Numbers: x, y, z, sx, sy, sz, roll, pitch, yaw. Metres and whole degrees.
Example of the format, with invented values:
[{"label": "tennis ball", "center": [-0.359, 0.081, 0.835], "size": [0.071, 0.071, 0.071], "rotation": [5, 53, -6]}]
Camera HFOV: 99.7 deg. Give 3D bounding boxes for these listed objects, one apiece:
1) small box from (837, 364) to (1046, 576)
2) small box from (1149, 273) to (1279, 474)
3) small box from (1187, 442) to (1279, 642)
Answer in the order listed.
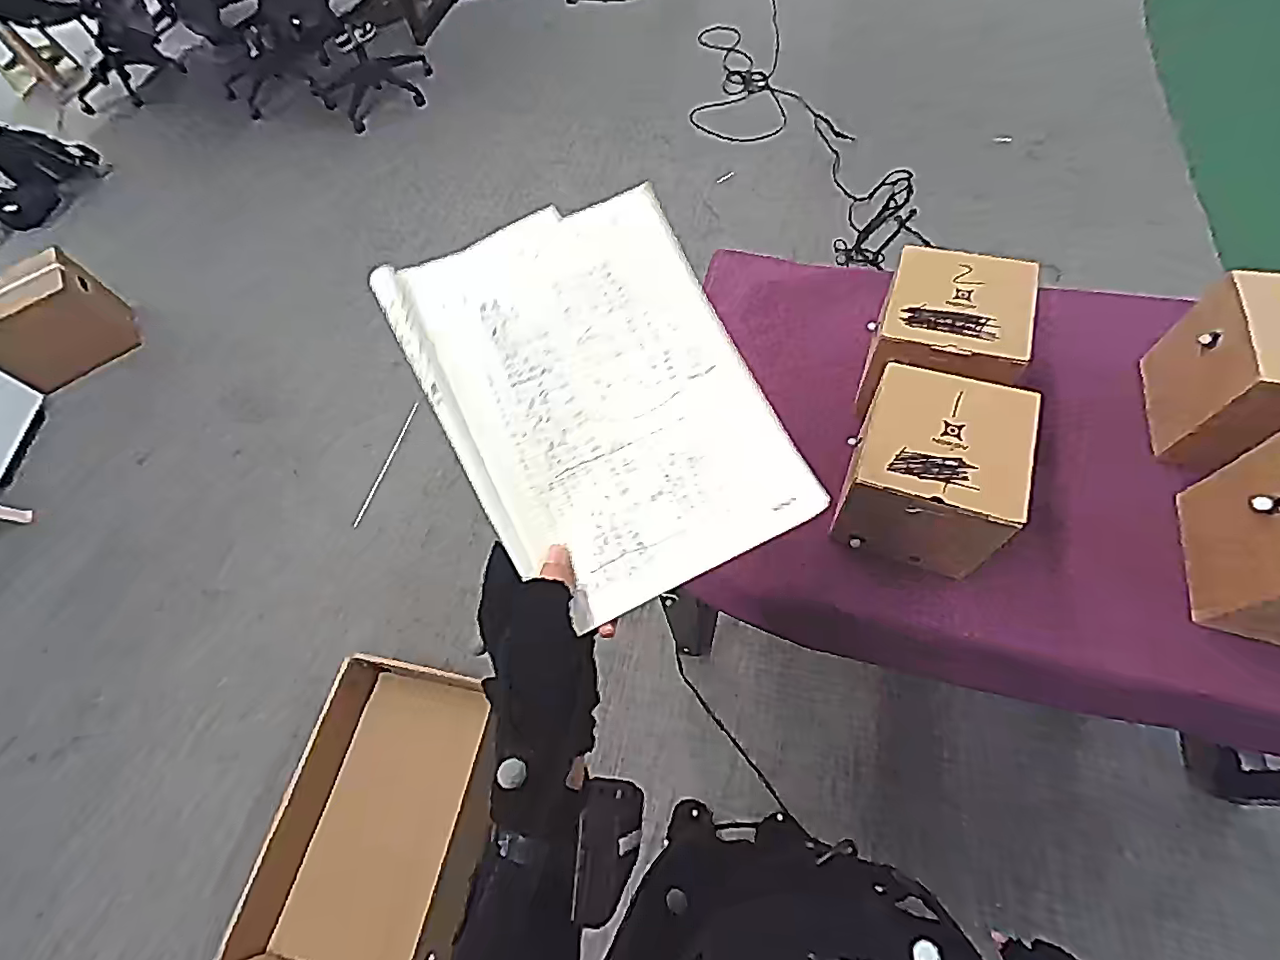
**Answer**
[{"label": "small box", "center": [0.351, -0.006, 0.658], "size": [0.168, 0.176, 0.179], "rotation": [19, 65, 17]}, {"label": "small box", "center": [0.772, -0.118, 0.658], "size": [0.168, 0.176, 0.179], "rotation": [12, 64, 14]}, {"label": "small box", "center": [0.727, 0.078, 0.560], "size": [0.168, 0.176, 0.179], "rotation": [14, 65, 16]}]
